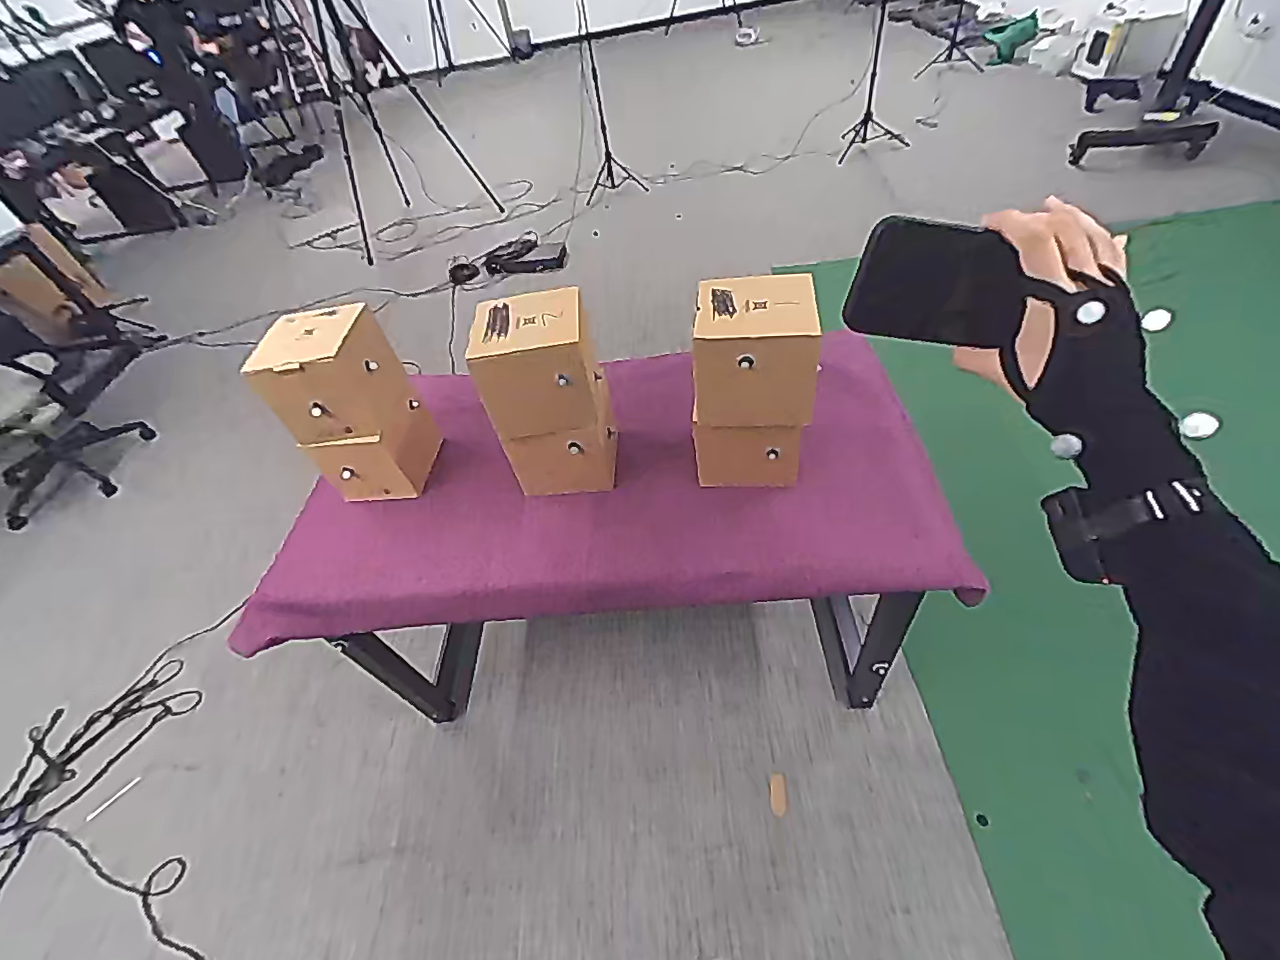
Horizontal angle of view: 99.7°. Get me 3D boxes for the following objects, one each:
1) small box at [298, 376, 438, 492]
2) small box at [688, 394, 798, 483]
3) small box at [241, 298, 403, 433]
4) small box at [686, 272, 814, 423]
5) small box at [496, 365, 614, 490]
[{"bbox_3d":[-0.535,-0.086,1.098,0.168,0.176,0.179,-3,48,8],"label":"small box"},{"bbox_3d":[0.187,-0.107,0.980,0.179,0.176,0.168,1,49,12],"label":"small box"},{"bbox_3d":[-0.558,-0.200,0.981,0.168,0.176,0.179,-7,49,4],"label":"small box"},{"bbox_3d":[0.172,-0.203,0.848,0.179,0.176,0.168,1,49,11],"label":"small box"},{"bbox_3d":[-0.150,-0.096,1.032,0.179,0.176,0.168,-4,48,7],"label":"small box"}]
